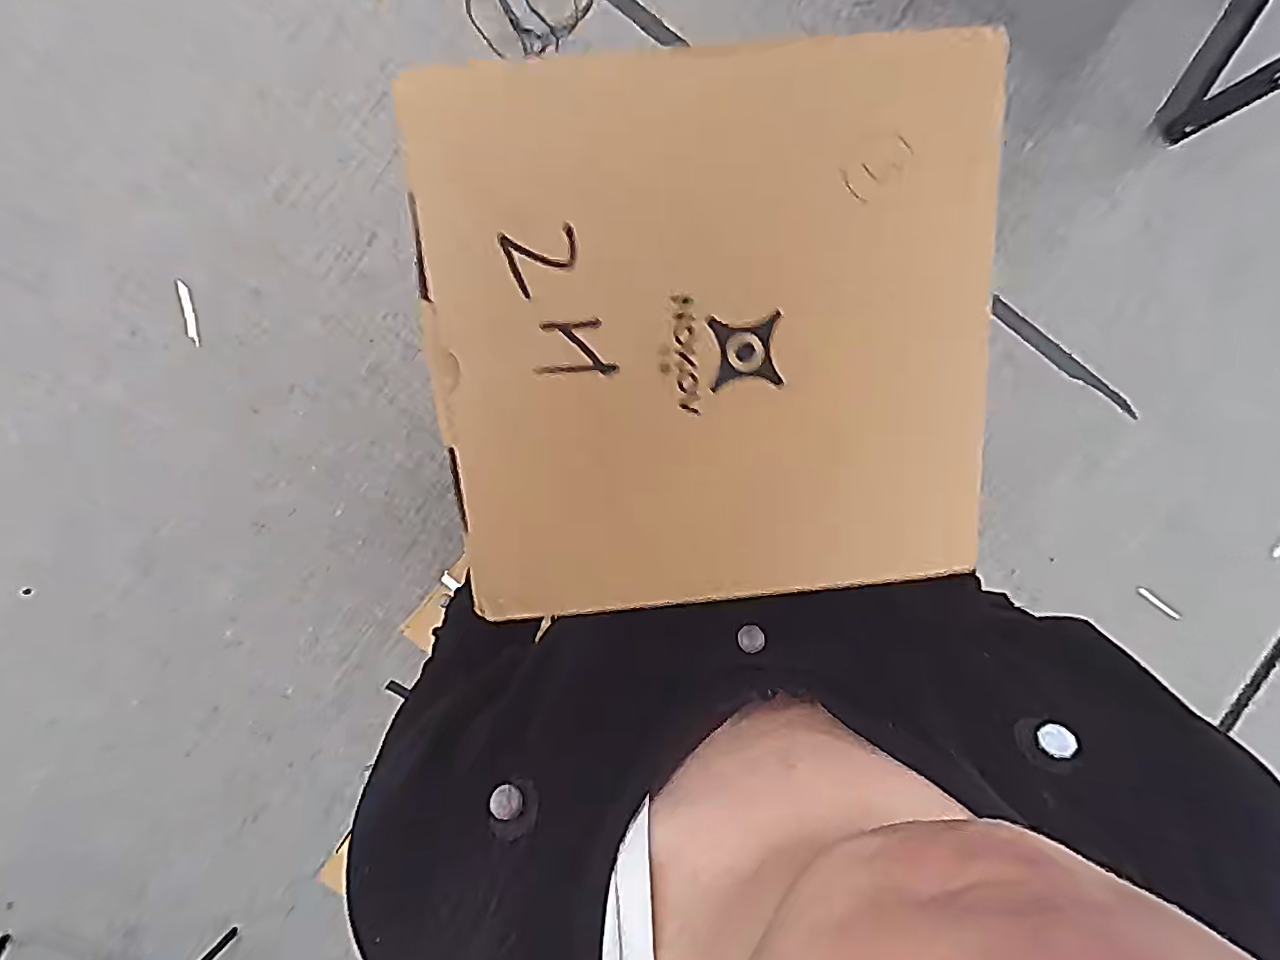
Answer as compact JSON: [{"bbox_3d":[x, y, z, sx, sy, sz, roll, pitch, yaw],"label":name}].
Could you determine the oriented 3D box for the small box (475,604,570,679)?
[{"bbox_3d":[-0.233,0.344,0.951,0.168,0.176,0.179,27,92,-4],"label":"small box"}]

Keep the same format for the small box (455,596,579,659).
[{"bbox_3d":[-0.239,0.318,1.112,0.179,0.176,0.168,43,90,-5],"label":"small box"}]

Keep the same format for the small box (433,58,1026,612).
[{"bbox_3d":[0.028,-0.057,0.251,0.179,0.176,0.168,-5,103,-2],"label":"small box"}]
